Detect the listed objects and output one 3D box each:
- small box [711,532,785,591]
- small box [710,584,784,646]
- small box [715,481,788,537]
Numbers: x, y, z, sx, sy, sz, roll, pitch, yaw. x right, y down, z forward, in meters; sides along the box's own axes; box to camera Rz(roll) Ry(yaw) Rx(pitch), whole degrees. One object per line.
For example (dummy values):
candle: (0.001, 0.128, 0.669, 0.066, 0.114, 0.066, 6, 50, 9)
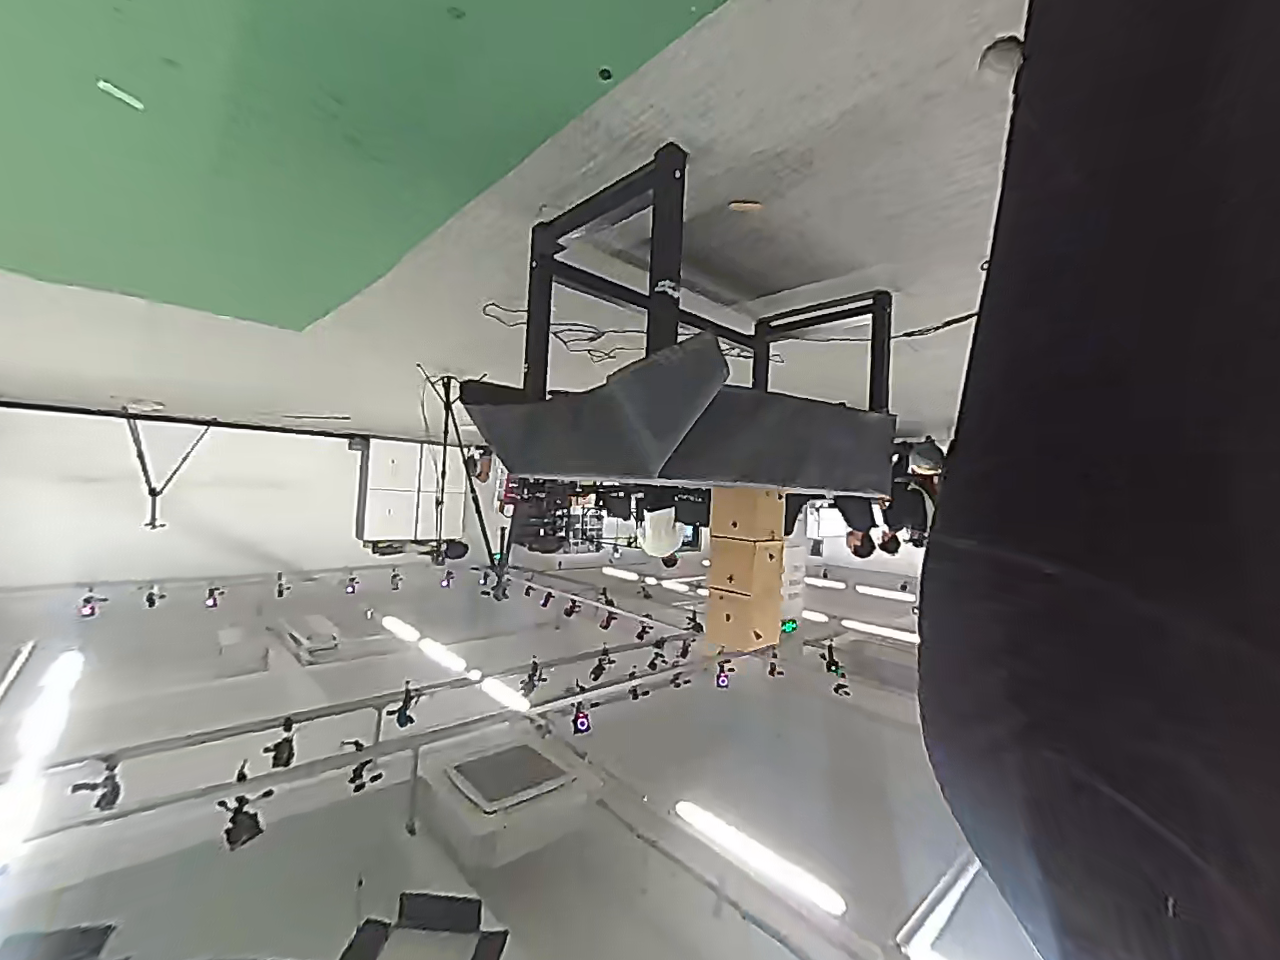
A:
small box: (0.349, 0.250, 1.725, 0.168, 0.176, 0.179, 4, 178, -43)
small box: (0.340, 0.415, 1.718, 0.179, 0.176, 0.168, 4, 178, -44)
small box: (0.357, 0.089, 1.730, 0.168, 0.176, 0.179, 4, 179, -42)
